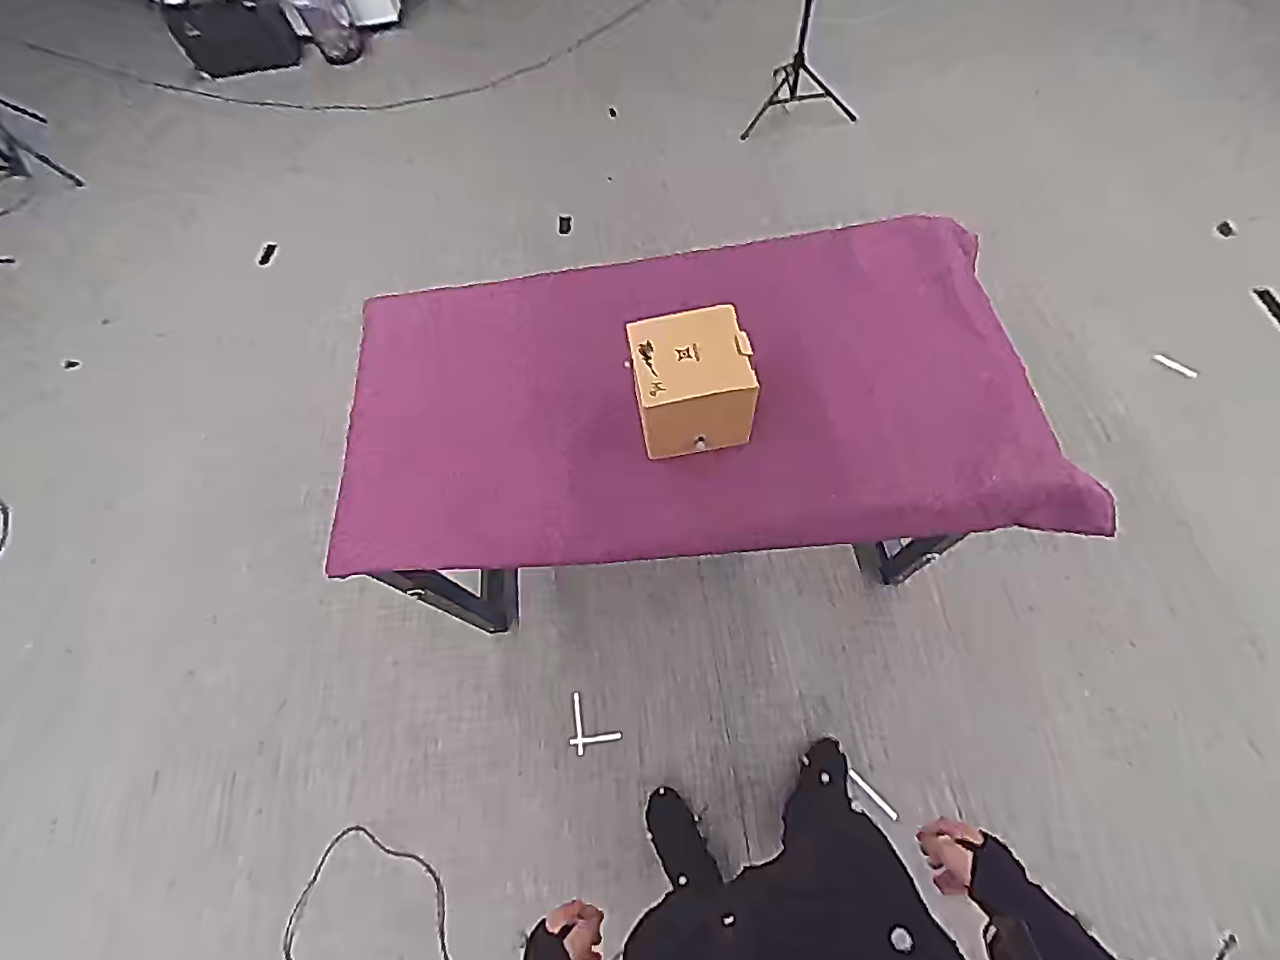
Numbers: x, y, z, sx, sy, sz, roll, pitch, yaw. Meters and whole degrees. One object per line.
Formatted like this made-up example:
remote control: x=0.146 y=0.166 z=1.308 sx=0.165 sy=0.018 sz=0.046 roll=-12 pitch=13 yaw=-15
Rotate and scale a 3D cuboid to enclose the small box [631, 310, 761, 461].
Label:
small box: x=0.086 y=-0.150 z=0.894 sx=0.179 sy=0.176 sz=0.168 roll=-10 pitch=63 yaw=0
